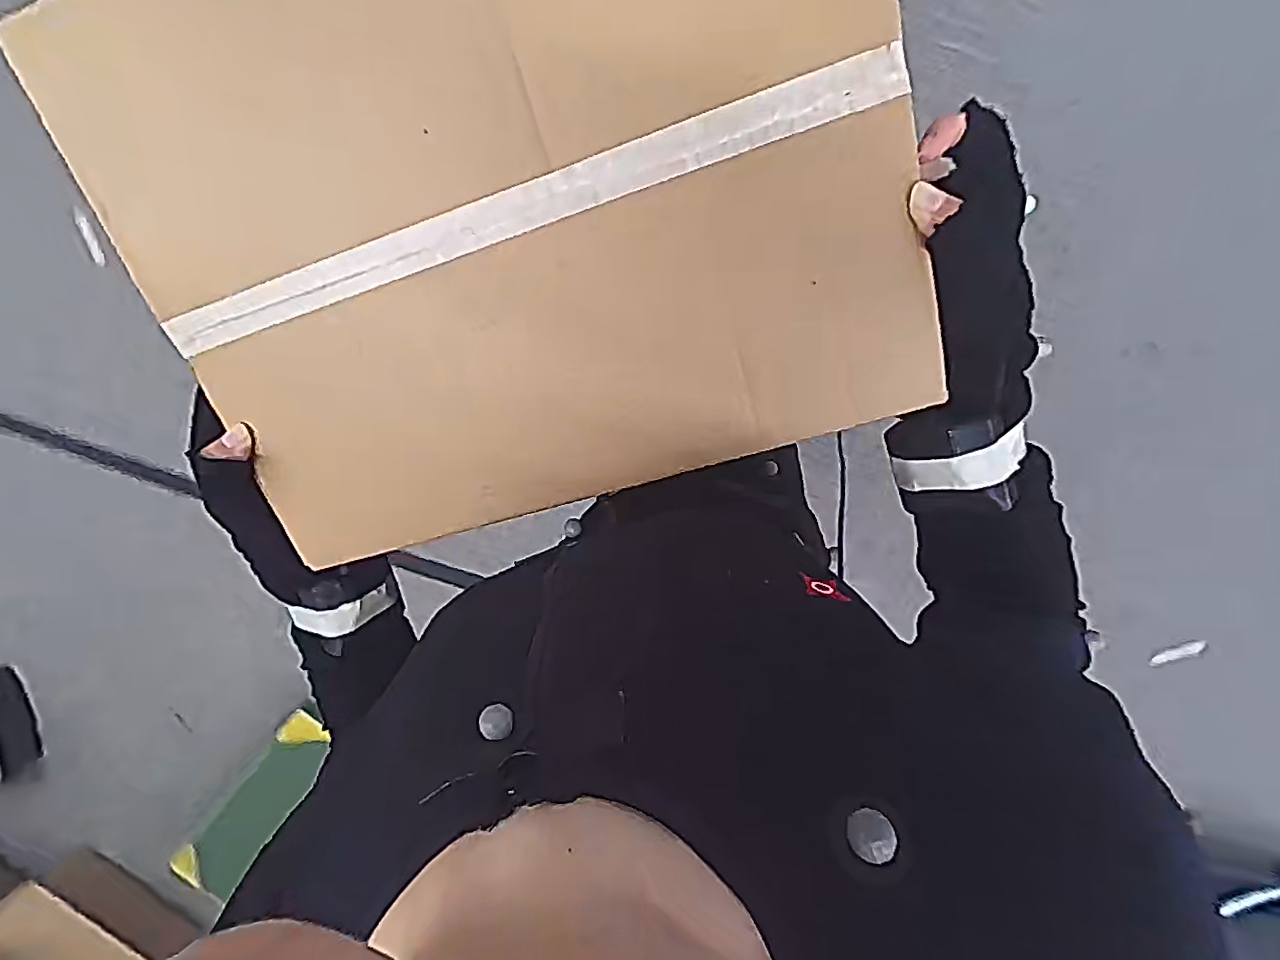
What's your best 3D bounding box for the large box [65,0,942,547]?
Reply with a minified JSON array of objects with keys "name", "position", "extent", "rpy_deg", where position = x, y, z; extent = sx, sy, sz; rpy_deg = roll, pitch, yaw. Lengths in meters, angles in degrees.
[{"name":"large box","position":[-0.053,-0.189,0.425],"extent":[0.408,0.320,0.320],"rpy_deg":[-14,109,9]}]
